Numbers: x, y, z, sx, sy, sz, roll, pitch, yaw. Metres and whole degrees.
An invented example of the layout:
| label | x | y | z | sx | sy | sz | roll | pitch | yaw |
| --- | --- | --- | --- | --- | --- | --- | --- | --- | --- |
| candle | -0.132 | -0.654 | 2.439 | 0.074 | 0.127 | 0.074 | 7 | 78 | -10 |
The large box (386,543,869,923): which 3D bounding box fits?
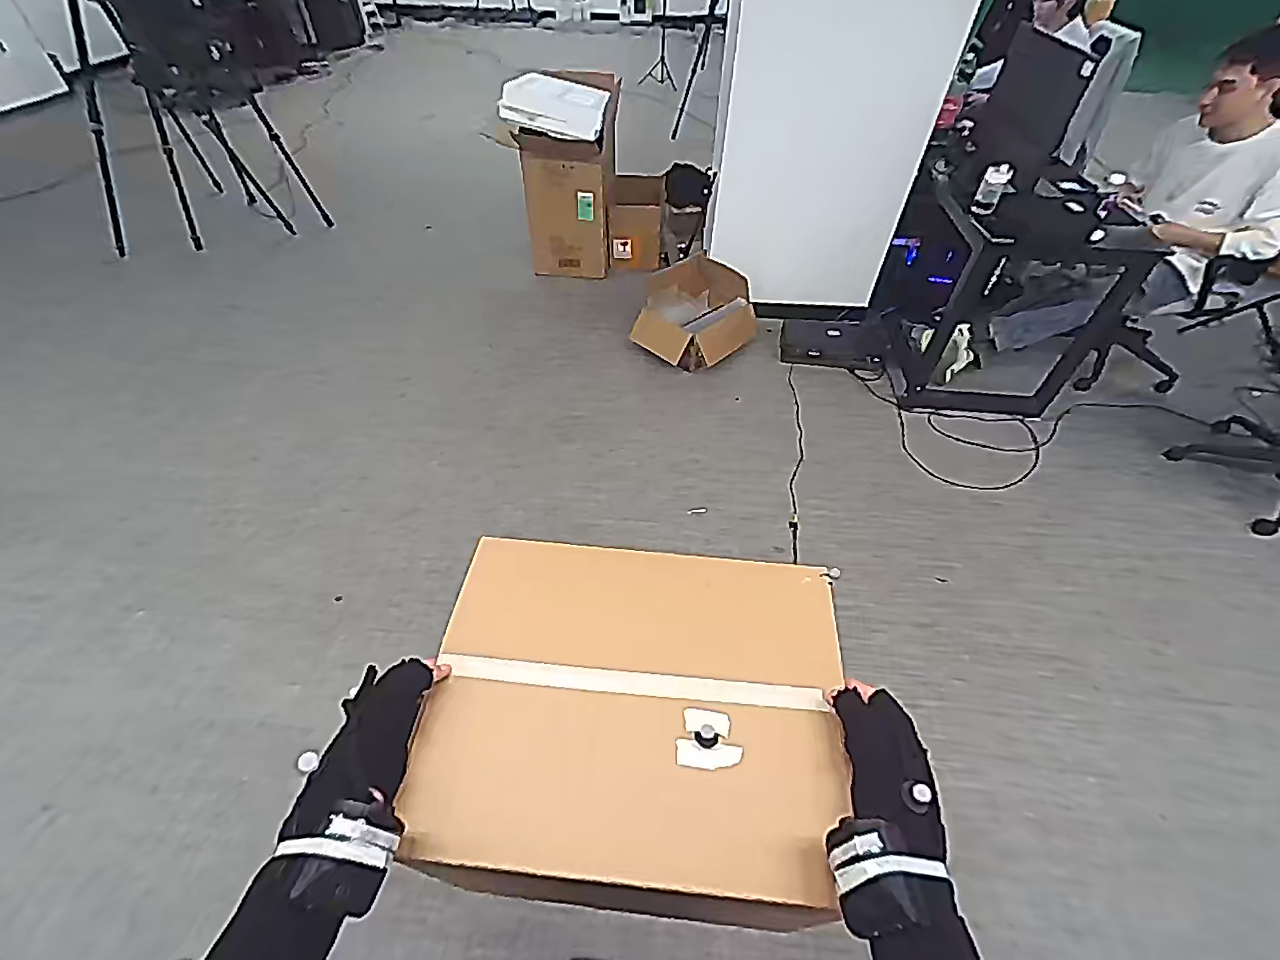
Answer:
| label | x | y | z | sx | sy | sz | roll | pitch | yaw |
| --- | --- | --- | --- | --- | --- | --- | --- | --- | --- |
| large box | -0.007 | 0.302 | 0.644 | 0.408 | 0.320 | 0.320 | 5 | 48 | 3 |
